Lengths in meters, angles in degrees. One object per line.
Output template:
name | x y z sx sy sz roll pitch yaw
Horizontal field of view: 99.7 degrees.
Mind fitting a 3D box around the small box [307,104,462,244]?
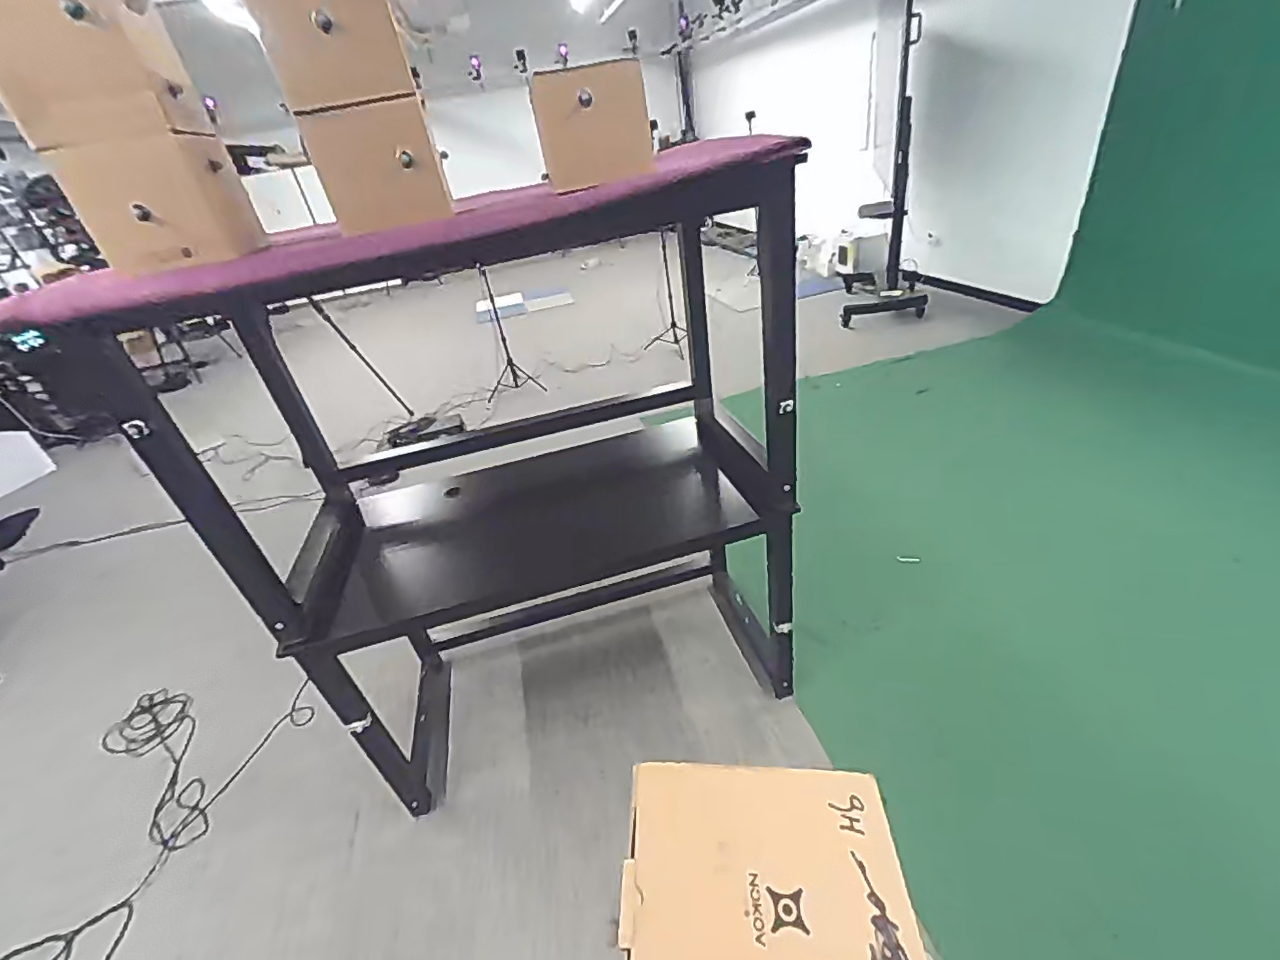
small box | -0.406 -0.505 0.898 0.179 0.176 0.168 -16 31 -8

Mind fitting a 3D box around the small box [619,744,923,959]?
small box | 0.076 0.315 0.389 0.179 0.176 0.168 3 39 0

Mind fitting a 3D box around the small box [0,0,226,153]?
small box | -0.739 -0.561 0.759 0.179 0.176 0.168 -15 33 -11

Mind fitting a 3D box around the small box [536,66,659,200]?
small box | -0.077 -0.604 0.962 0.179 0.176 0.168 -13 30 -6

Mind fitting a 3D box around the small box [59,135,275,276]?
small box | -0.713 -0.426 0.847 0.168 0.176 0.179 -14 32 -9
